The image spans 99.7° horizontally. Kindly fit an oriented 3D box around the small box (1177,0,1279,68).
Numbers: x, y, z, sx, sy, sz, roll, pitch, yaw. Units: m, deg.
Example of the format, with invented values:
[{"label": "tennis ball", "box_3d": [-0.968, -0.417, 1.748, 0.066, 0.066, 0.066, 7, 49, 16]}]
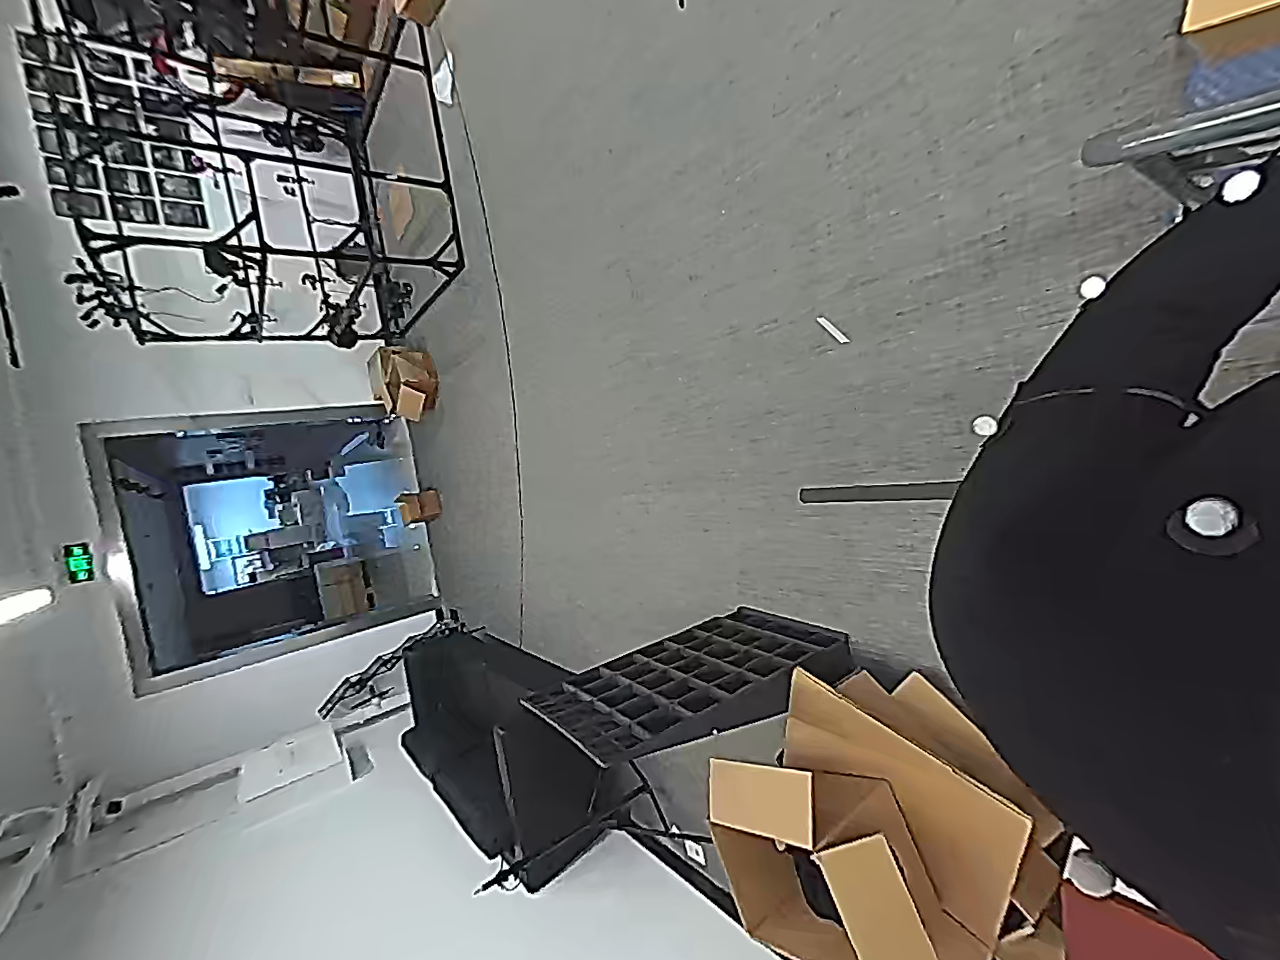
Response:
[{"label": "small box", "box_3d": [0.902, -0.717, 0.754, 0.179, 0.176, 0.168, 17, 112, 49]}]
